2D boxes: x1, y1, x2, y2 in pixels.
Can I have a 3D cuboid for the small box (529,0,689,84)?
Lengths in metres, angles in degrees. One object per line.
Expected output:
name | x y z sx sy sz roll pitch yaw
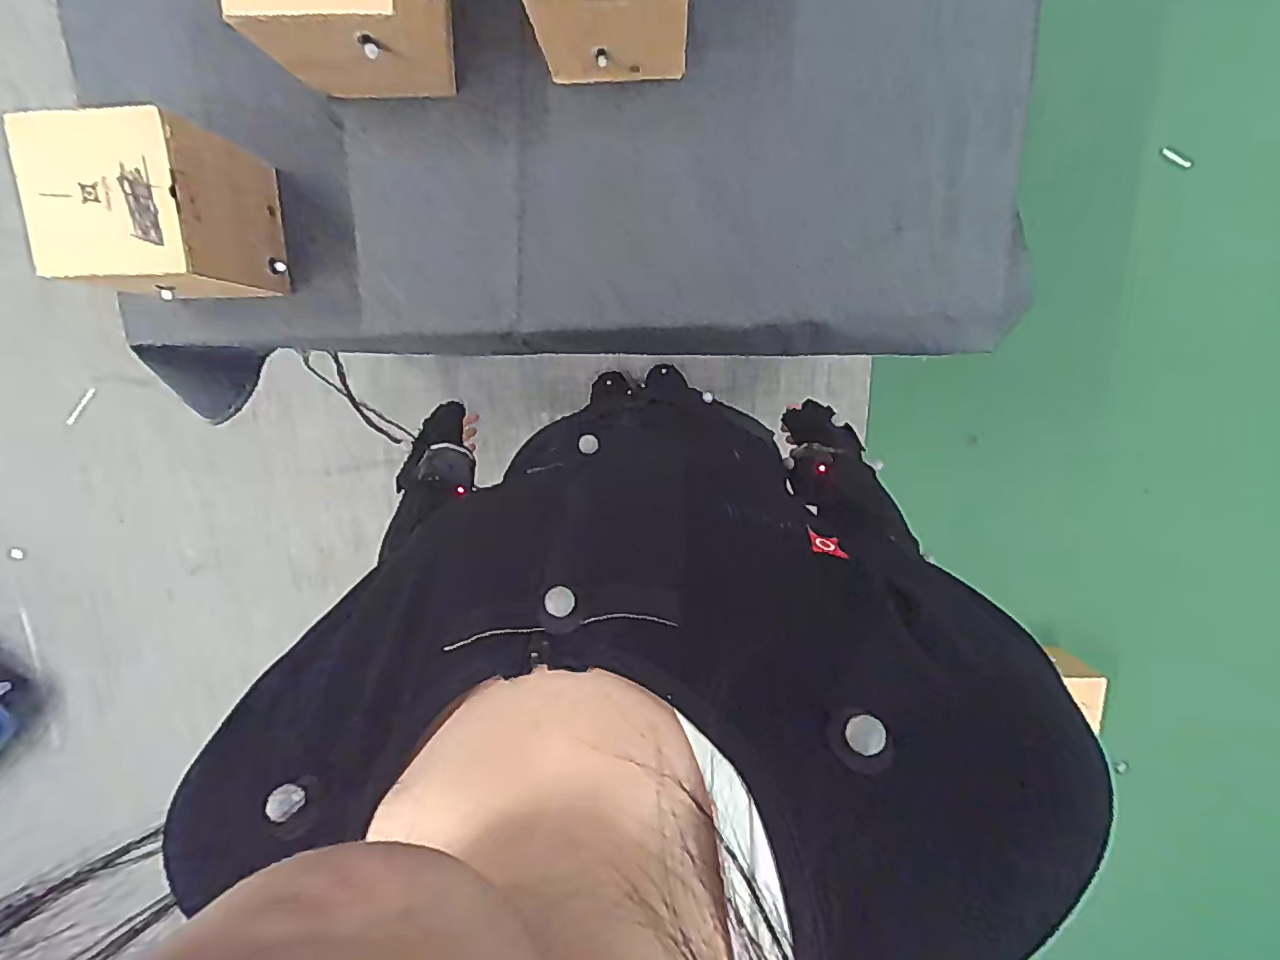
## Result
small box | -0.033 -0.570 0.585 0.168 0.176 0.179 -1 101 2

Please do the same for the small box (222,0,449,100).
small box | -0.322 -0.549 0.596 0.179 0.176 0.168 1 102 2

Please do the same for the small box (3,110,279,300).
small box | -0.569 -0.315 0.650 0.179 0.176 0.168 -1 100 2
